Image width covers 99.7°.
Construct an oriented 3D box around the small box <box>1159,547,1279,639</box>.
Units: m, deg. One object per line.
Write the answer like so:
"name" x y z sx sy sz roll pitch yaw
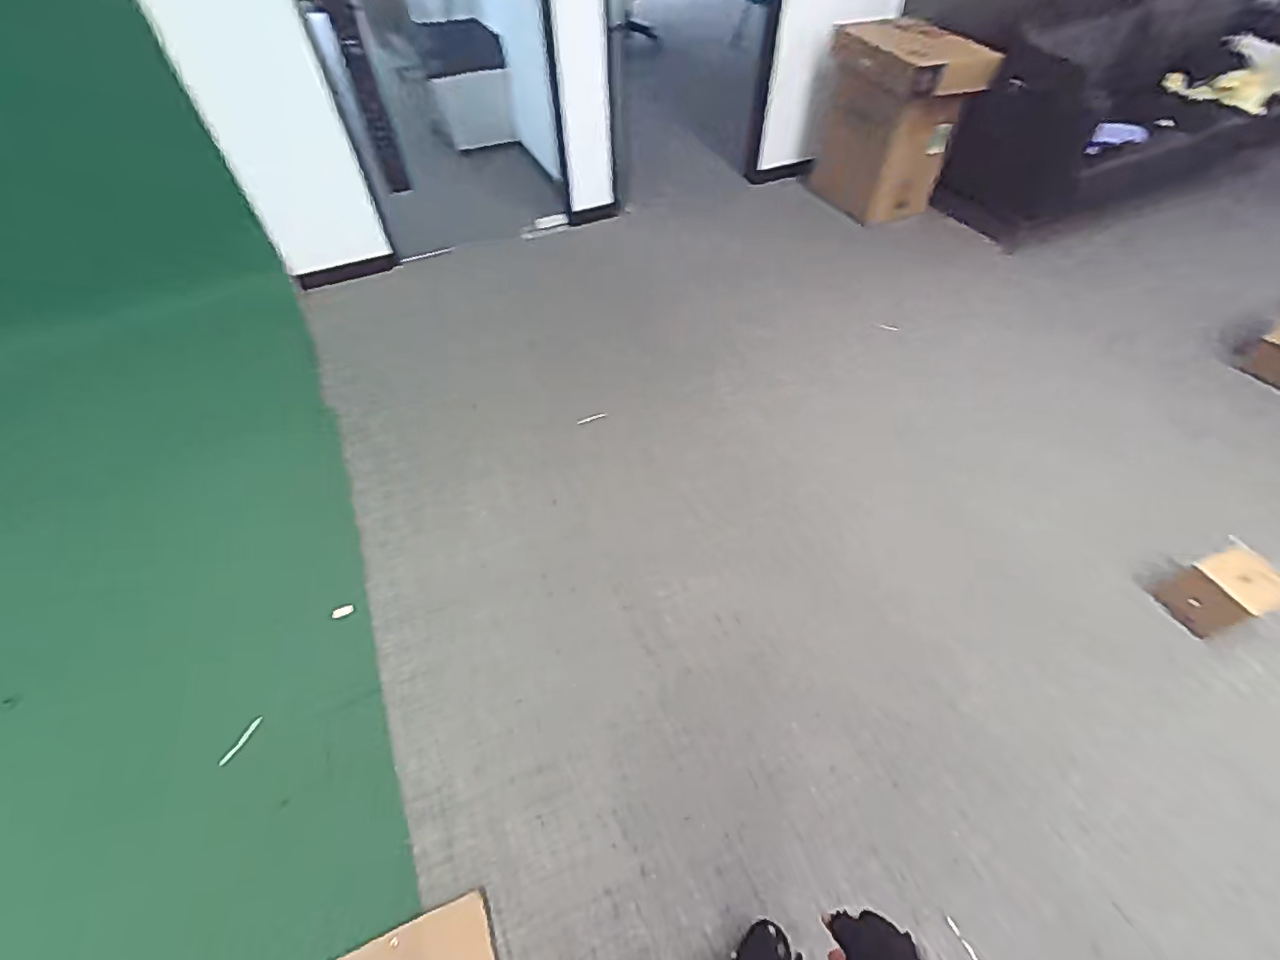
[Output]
"small box" 1.617 0.318 1.504 0.179 0.176 0.168 -16 53 -12
